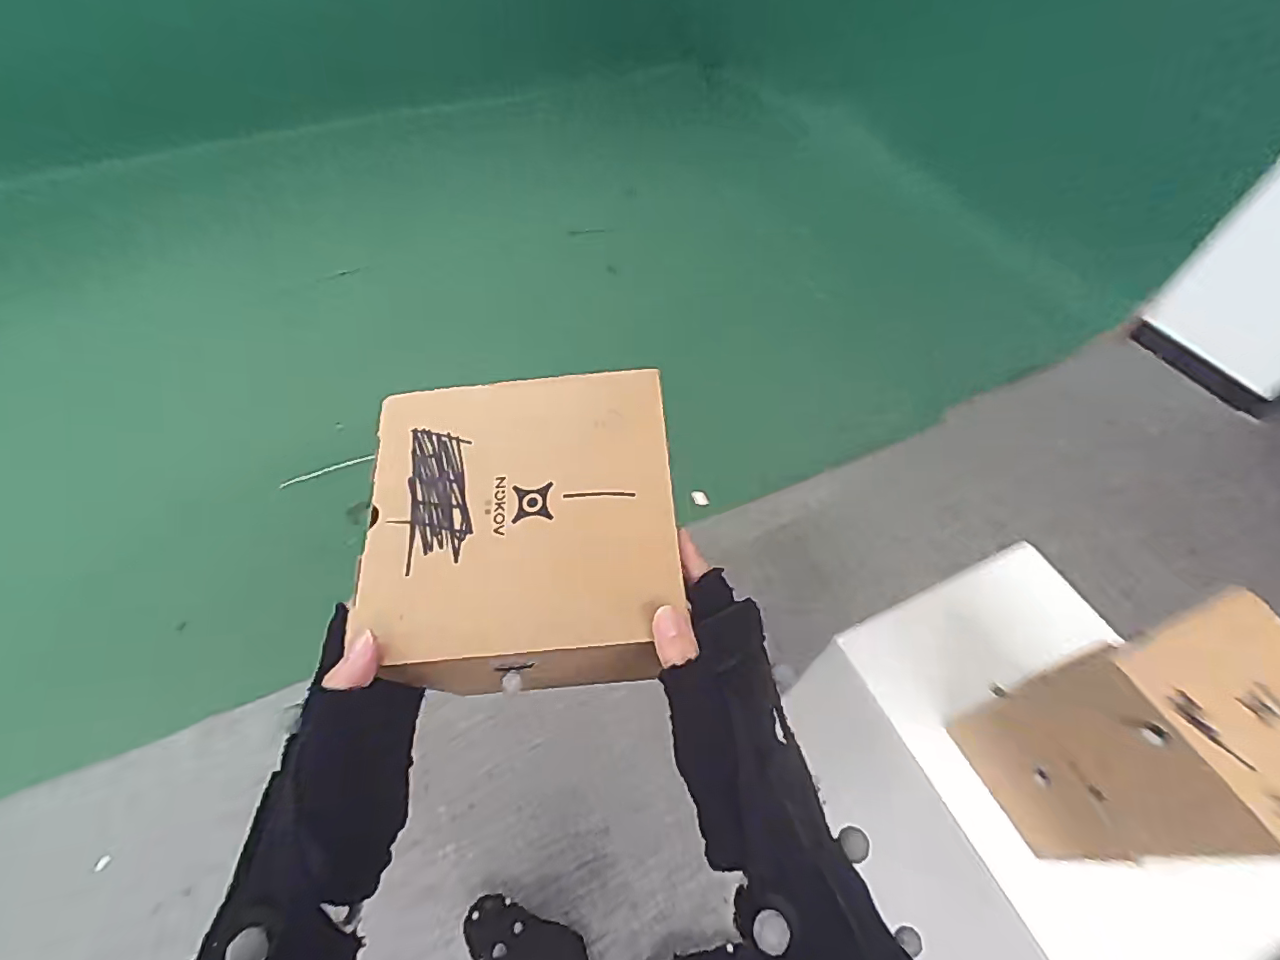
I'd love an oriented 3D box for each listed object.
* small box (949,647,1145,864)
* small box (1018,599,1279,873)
[{"bbox_3d":[0.529,0.339,0.664,0.168,0.176,0.179,-21,58,-13],"label":"small box"},{"bbox_3d":[0.532,0.247,0.531,0.179,0.176,0.168,-22,59,-13],"label":"small box"}]
